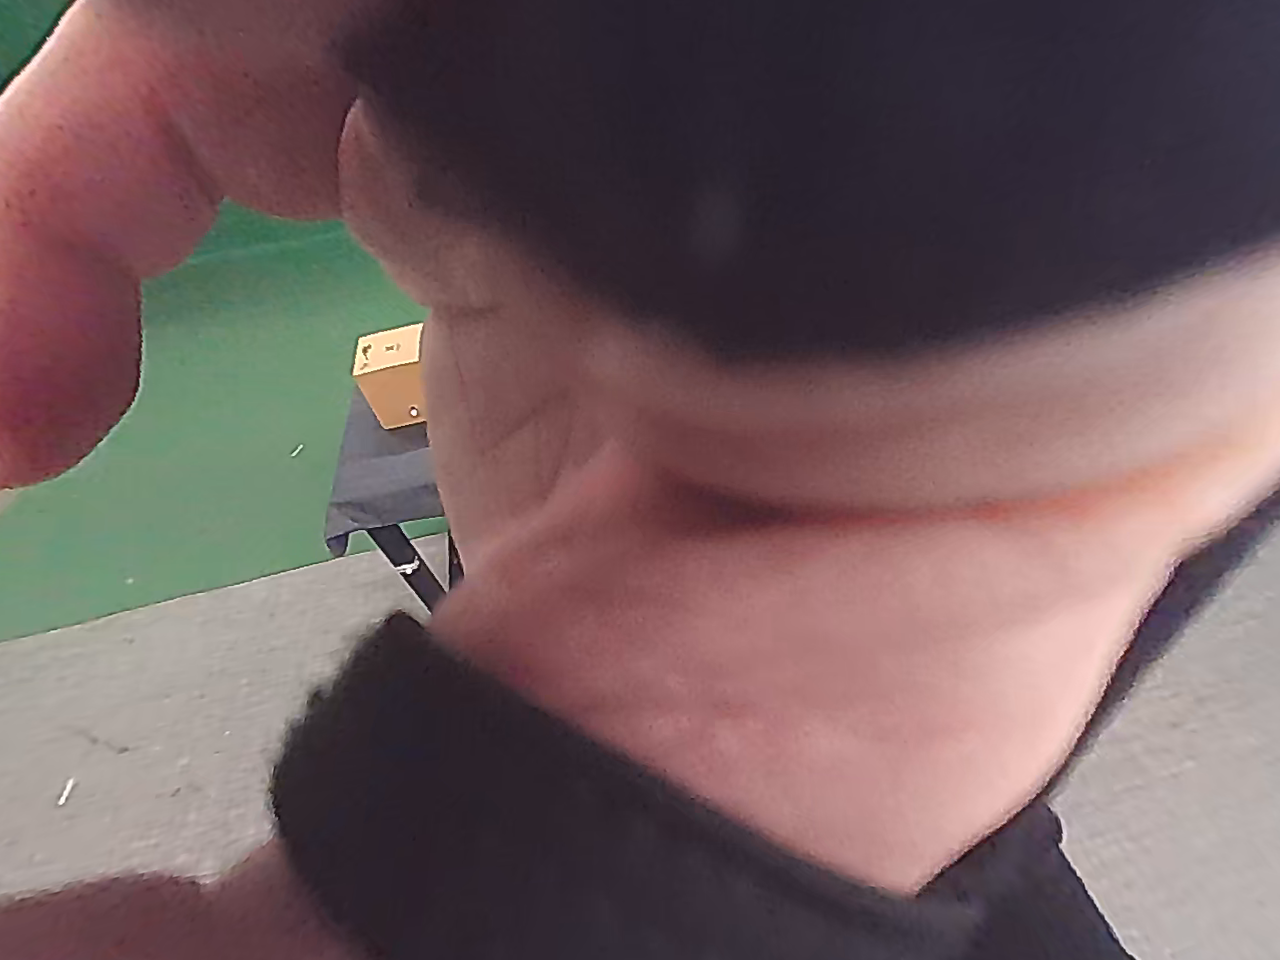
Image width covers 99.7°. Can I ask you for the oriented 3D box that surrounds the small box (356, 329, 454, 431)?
[{"bbox_3d":[-0.567,-0.245,1.334,0.179,0.176,0.168,-13,48,-6],"label":"small box"}]
